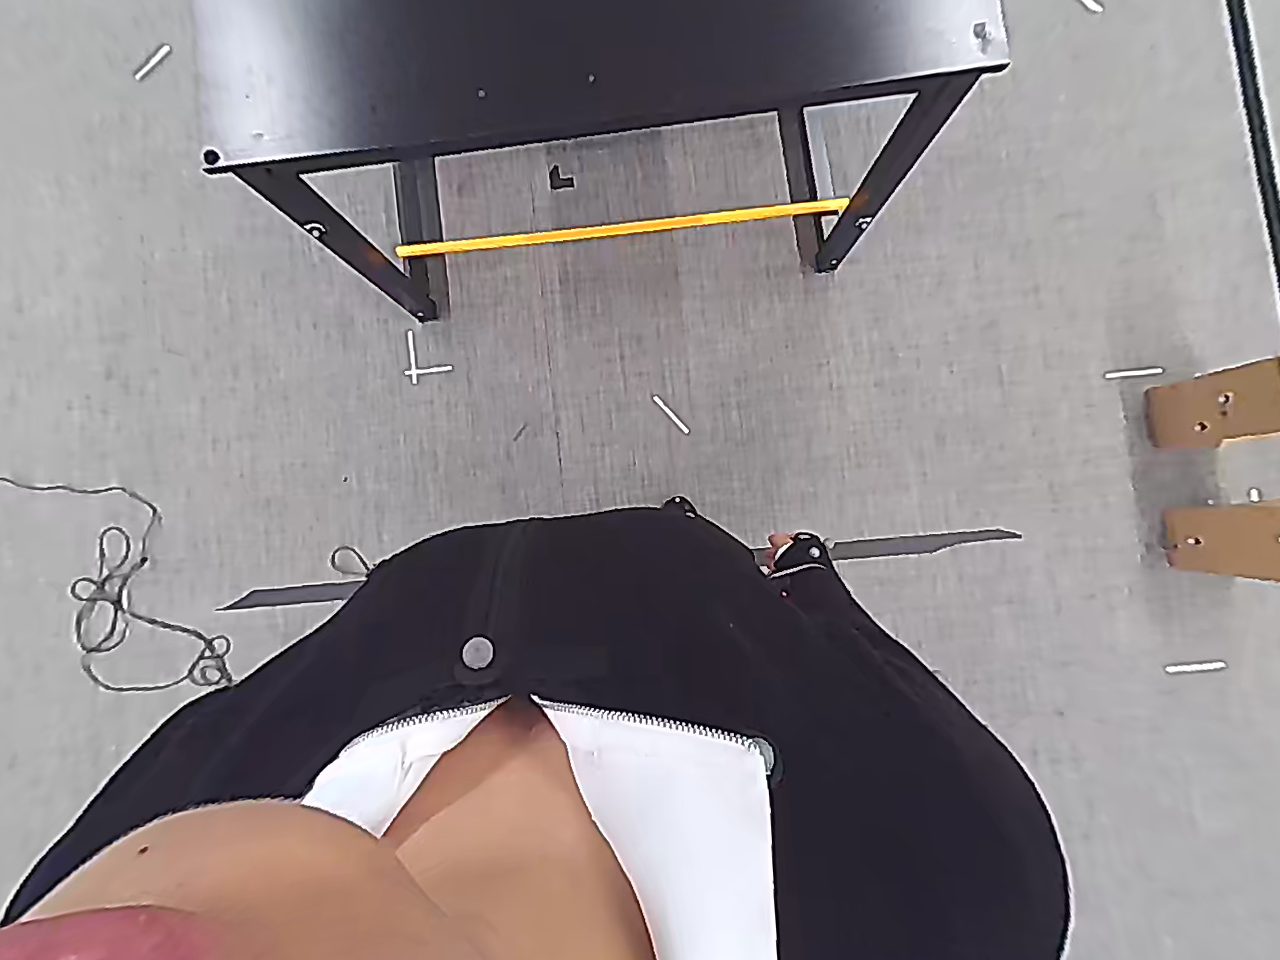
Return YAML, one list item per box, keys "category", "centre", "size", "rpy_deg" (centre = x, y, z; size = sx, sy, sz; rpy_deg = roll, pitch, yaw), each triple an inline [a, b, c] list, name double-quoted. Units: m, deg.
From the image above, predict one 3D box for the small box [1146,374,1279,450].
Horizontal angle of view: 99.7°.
- category: "small box"
  centre: [1.469, -0.175, 1.391]
  size: [0.168, 0.176, 0.179]
  rpy_deg: [-8, 87, 1]

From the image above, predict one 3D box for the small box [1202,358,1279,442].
- category: "small box"
  centre: [1.459, -0.185, 1.230]
  size: [0.179, 0.176, 0.168]
  rpy_deg: [-7, 85, 2]

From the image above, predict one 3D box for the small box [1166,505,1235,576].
- category: "small box"
  centre: [1.498, 0.151, 1.378]
  size: [0.179, 0.176, 0.168]
  rpy_deg: [-4, 88, 2]

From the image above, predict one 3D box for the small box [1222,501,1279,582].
- category: "small box"
  centre: [1.476, 0.136, 1.213]
  size: [0.168, 0.176, 0.179]
  rpy_deg: [-6, 88, 2]
